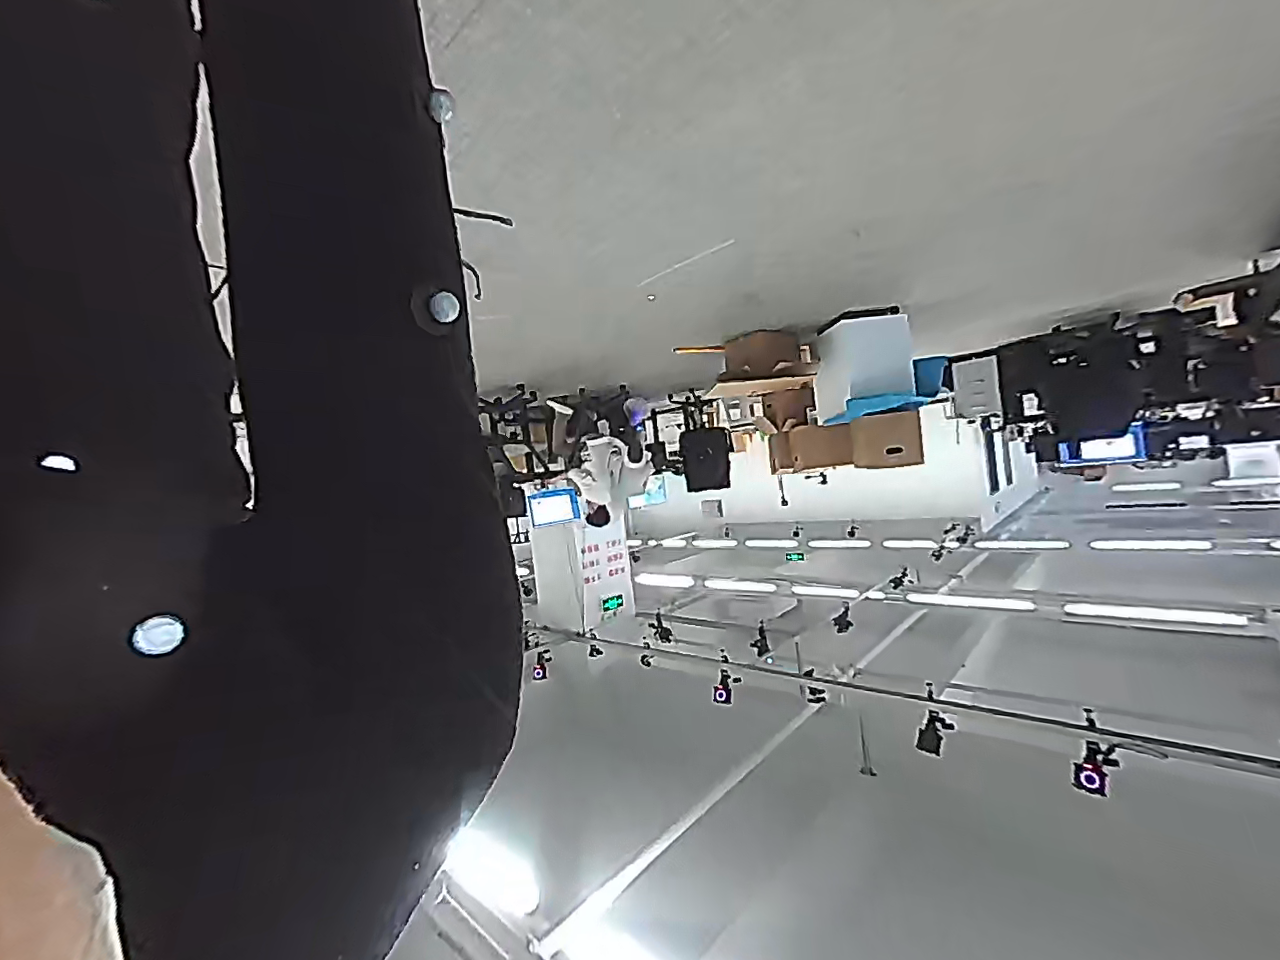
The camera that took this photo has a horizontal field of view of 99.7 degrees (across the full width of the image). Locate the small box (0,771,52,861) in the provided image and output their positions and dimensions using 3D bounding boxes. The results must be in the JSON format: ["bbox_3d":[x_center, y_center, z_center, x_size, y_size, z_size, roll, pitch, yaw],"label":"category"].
[{"bbox_3d":[-1.814,0.967,1.545,0.179,0.176,0.168,-6,-178,43],"label":"small box"}]
